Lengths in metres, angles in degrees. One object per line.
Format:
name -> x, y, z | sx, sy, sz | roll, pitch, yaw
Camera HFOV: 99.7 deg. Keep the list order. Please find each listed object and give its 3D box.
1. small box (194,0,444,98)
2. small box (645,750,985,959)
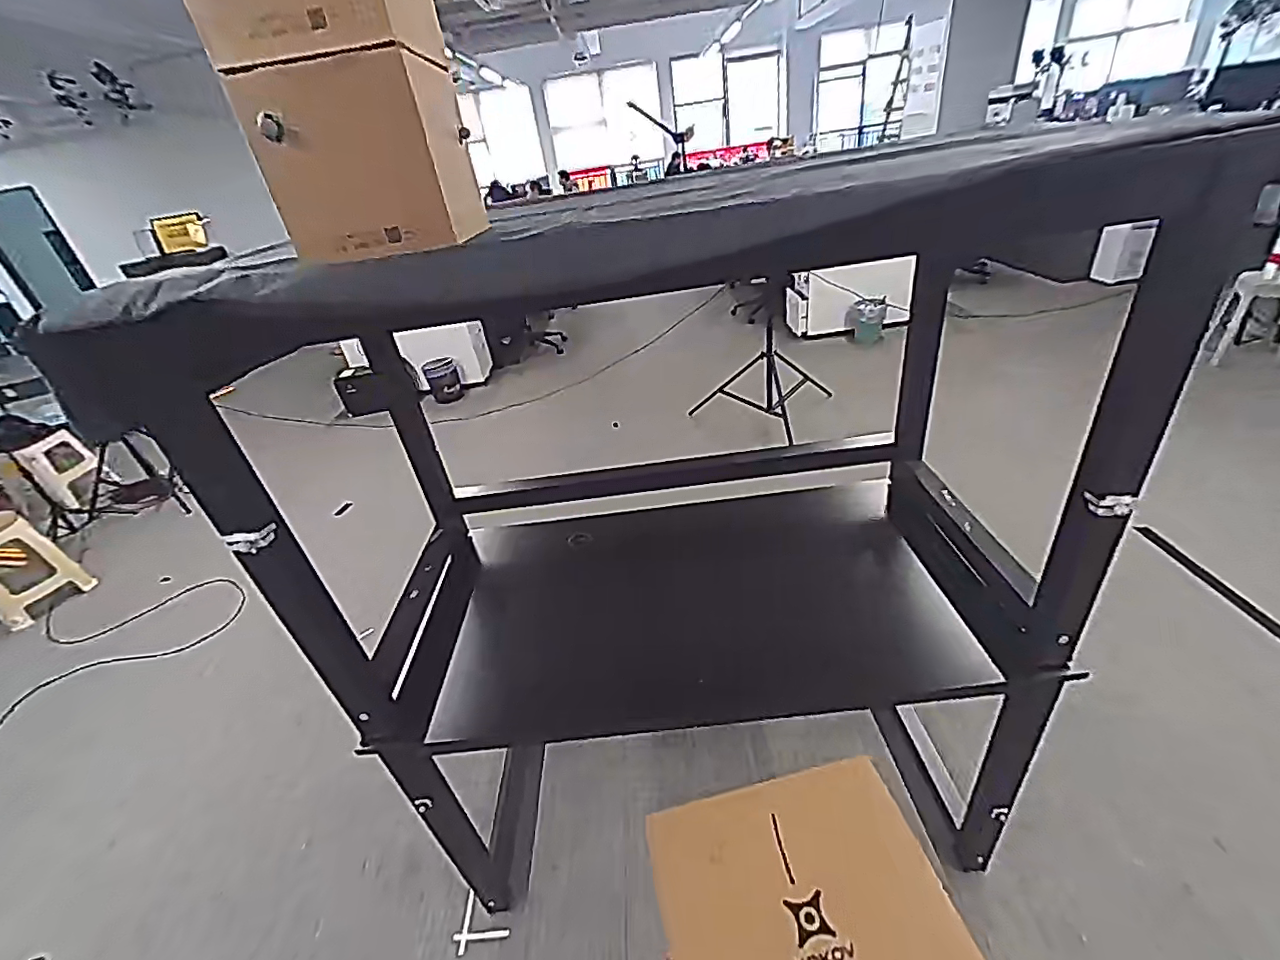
small box -> -0.303, -0.477, 0.503 | 0.168, 0.176, 0.179 | -8, 30, 3
small box -> 0.108, 0.318, 0.350 | 0.168, 0.176, 0.179 | -12, 34, -5
